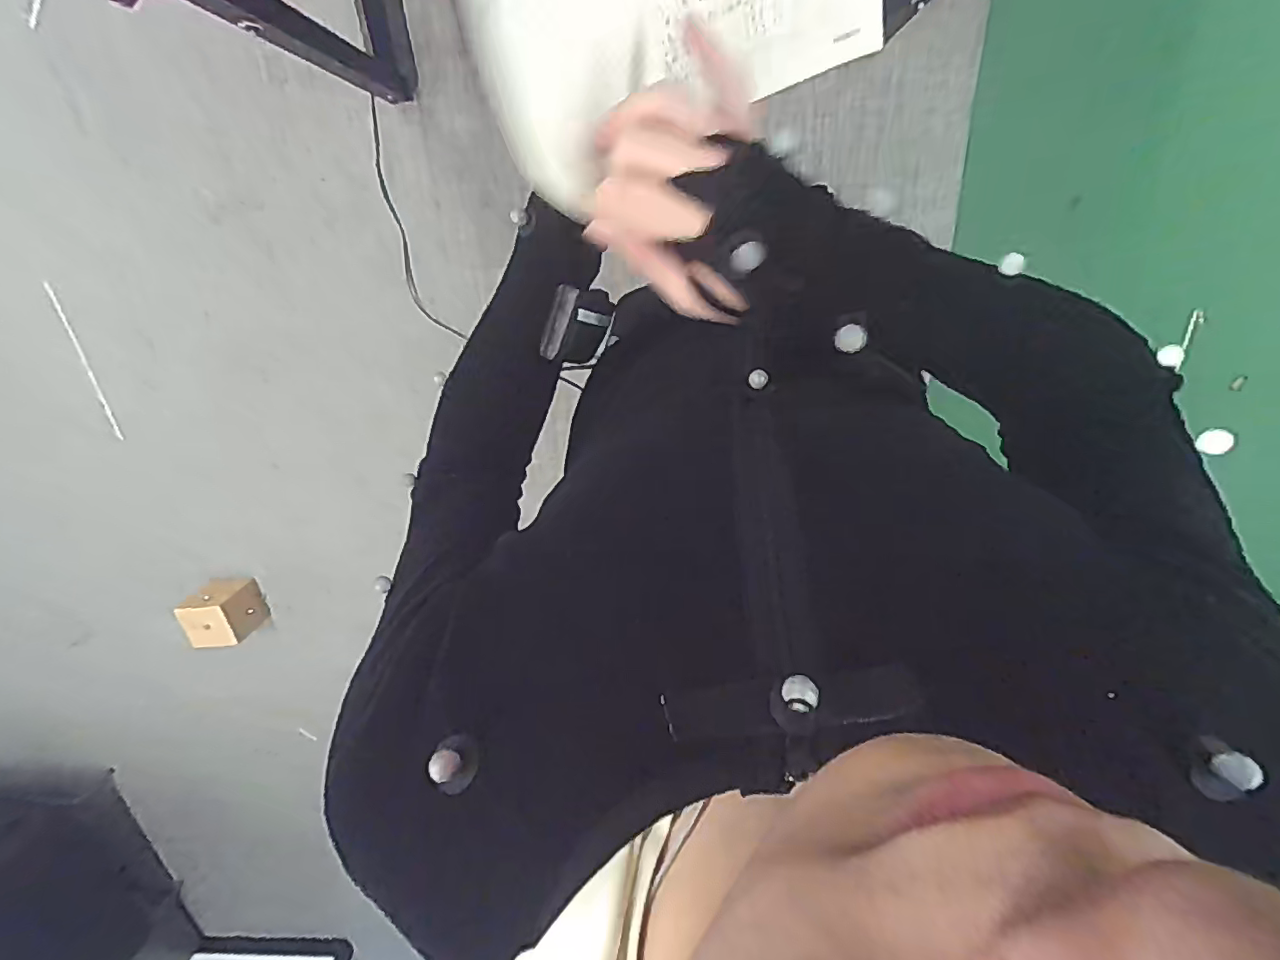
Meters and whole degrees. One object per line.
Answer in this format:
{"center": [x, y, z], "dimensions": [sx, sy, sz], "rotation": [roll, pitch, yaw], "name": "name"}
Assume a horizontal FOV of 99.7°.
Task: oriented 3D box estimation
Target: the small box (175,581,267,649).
{"center": [-1.457, 0.470, 1.900], "dimensions": [0.179, 0.176, 0.168], "rotation": [-5, 112, 6], "name": "small box"}
